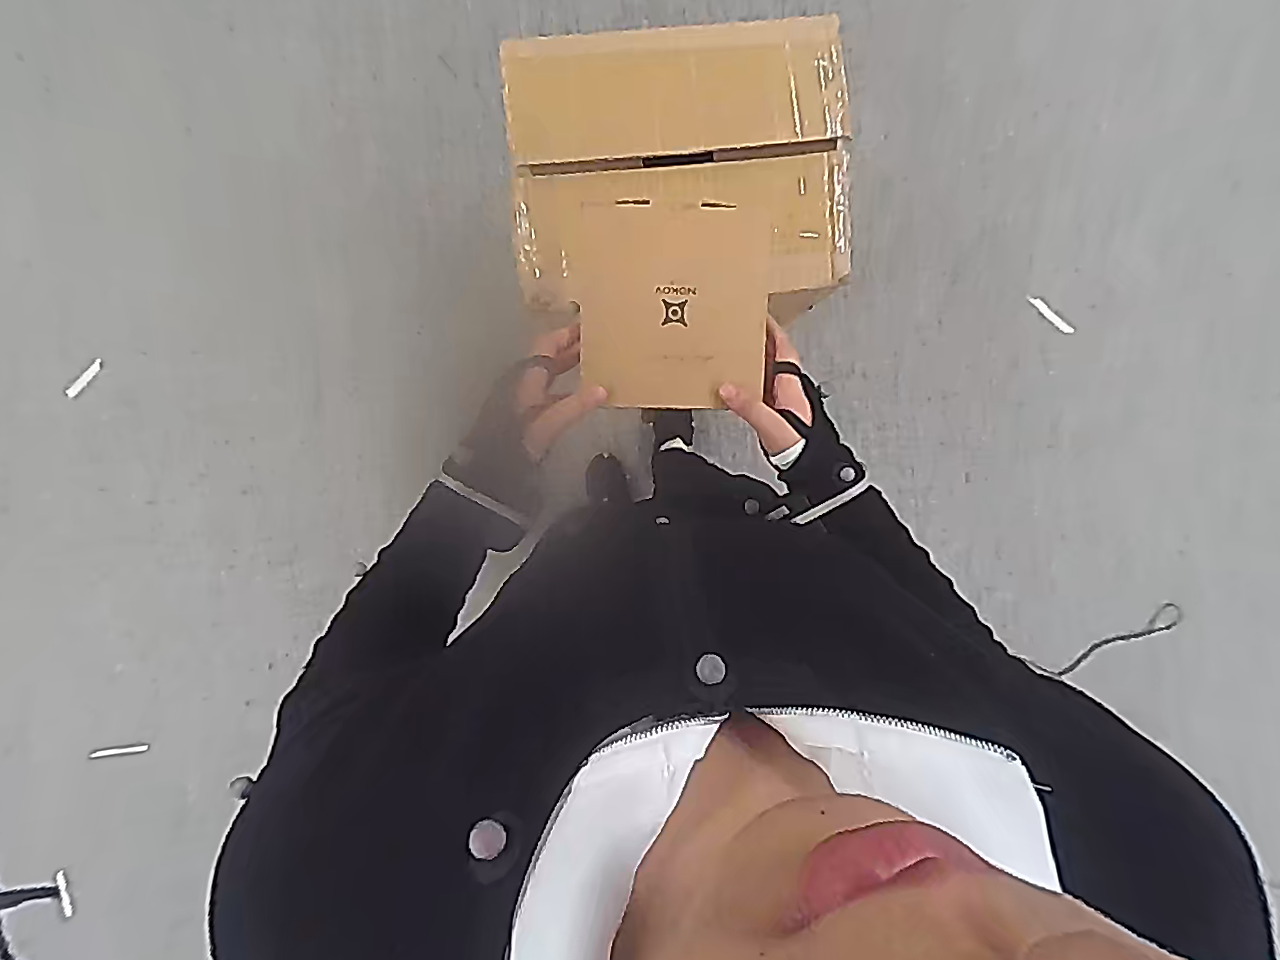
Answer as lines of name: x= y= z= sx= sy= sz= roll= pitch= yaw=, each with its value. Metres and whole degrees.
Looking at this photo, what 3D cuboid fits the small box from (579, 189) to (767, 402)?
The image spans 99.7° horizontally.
small box: x=0.022 y=-0.171 z=0.553 sx=0.168 sy=0.176 sz=0.179 roll=0 pitch=98 yaw=-4
